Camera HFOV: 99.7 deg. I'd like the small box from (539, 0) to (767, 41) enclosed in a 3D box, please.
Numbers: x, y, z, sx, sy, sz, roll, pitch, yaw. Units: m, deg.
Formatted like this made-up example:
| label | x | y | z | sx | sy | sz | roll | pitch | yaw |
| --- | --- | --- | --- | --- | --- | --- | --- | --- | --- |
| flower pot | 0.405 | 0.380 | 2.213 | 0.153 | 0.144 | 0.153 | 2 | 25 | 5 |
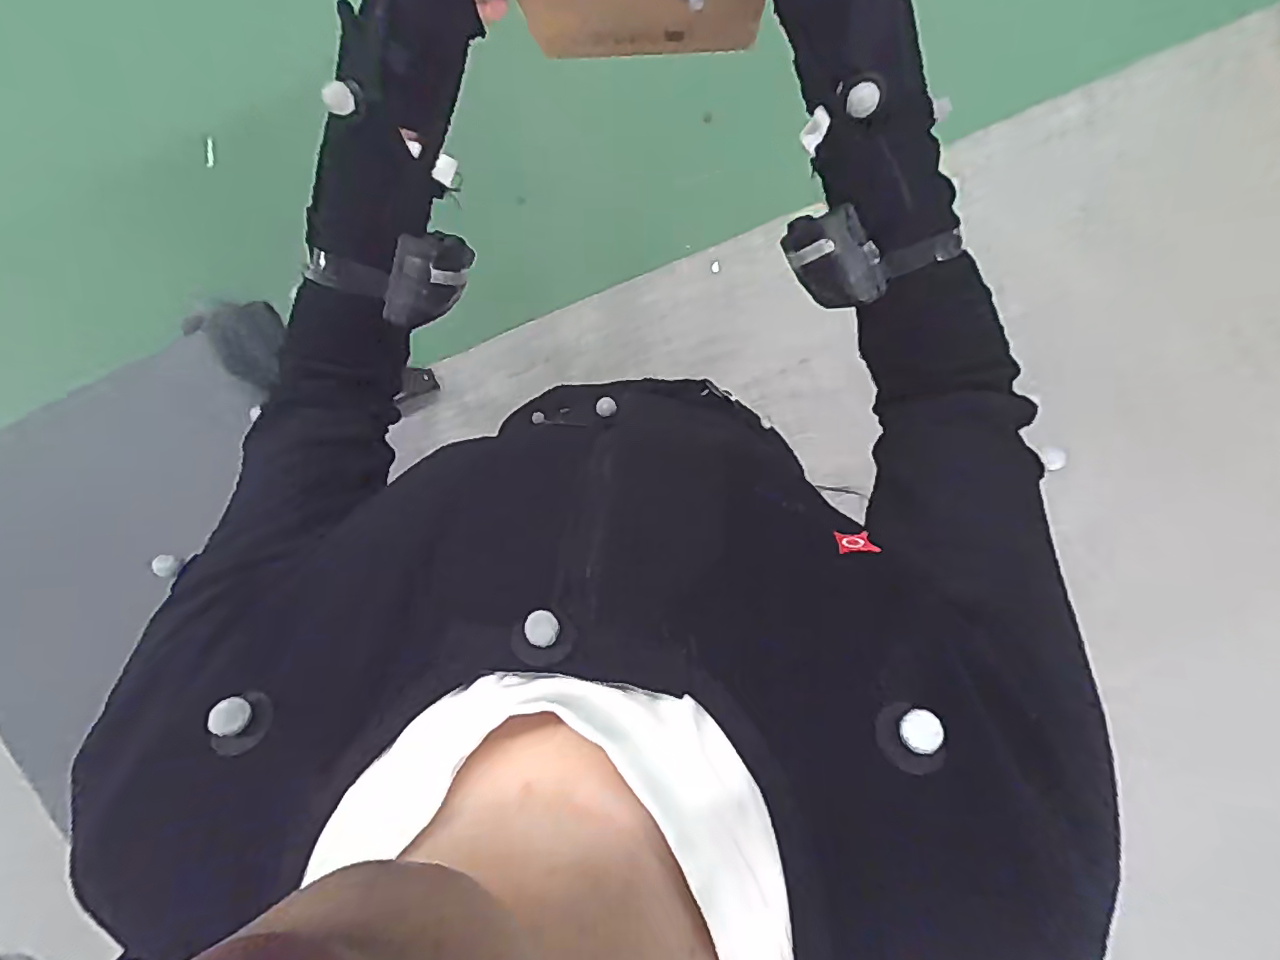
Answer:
| label | x | y | z | sx | sy | sz | roll | pitch | yaw |
| --- | --- | --- | --- | --- | --- | --- | --- | --- | --- |
| small box | 0.006 | -0.400 | 0.322 | 0.168 | 0.176 | 0.179 | 2 | 103 | 4 |
